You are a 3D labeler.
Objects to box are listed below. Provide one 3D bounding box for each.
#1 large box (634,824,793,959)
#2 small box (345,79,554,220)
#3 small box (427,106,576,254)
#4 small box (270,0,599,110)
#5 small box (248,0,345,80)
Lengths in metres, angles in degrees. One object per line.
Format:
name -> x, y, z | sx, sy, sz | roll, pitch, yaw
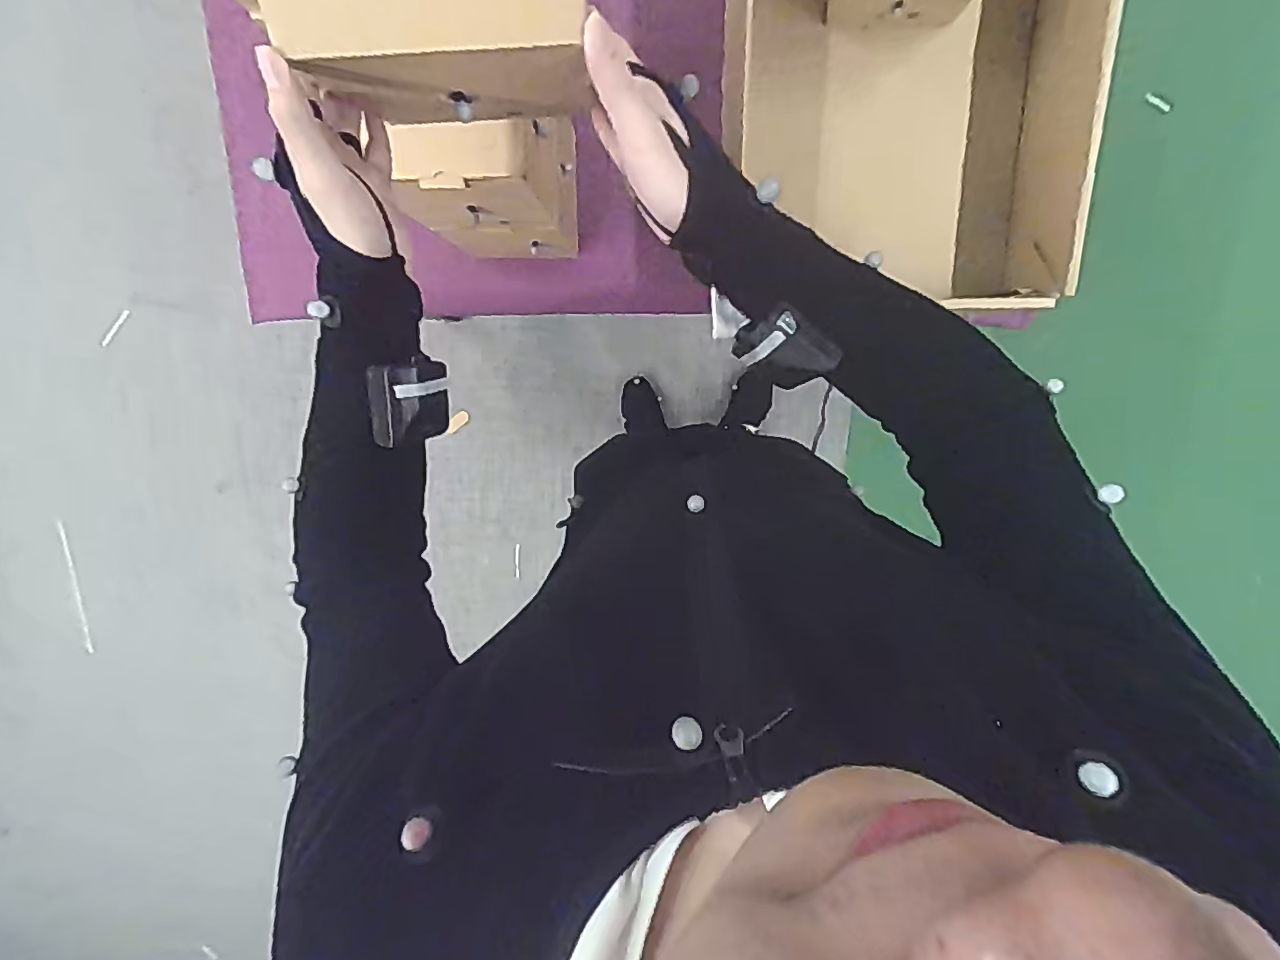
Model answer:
large box -> 0.230, 1.445, 1.777 | 0.408, 0.320, 0.320 | -32, 99, 8
small box -> -0.188, -0.387, 0.576 | 0.168, 0.176, 0.179 | 0, 101, 2
small box -> -0.180, -0.415, 0.736 | 0.168, 0.176, 0.179 | 1, 100, 2
small box -> -0.113, -0.338, 0.321 | 0.168, 0.176, 0.179 | -5, 113, -2
small box -> -0.380, -0.651, 0.700 | 0.168, 0.176, 0.179 | -1, 101, 3
